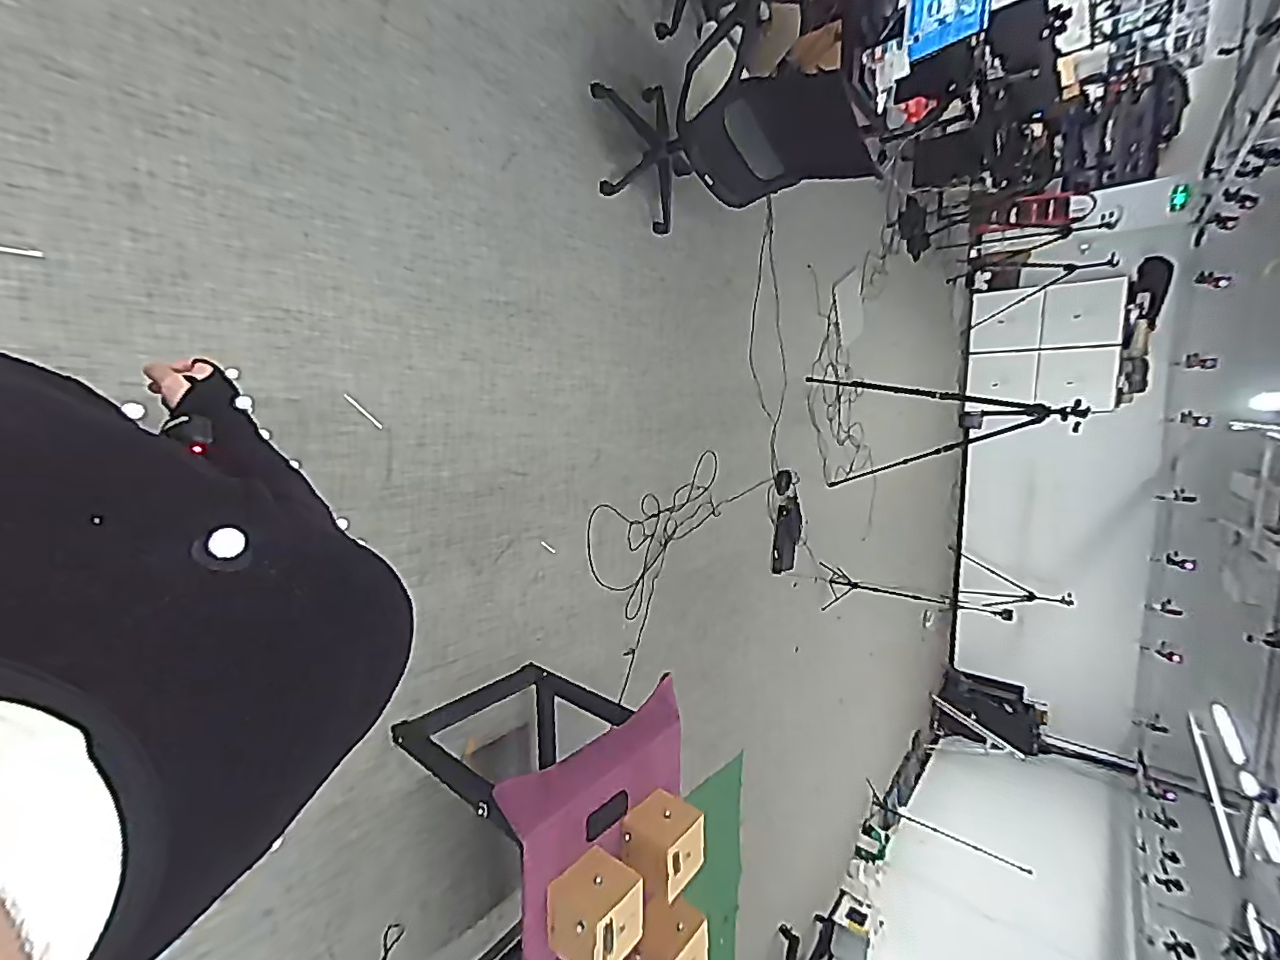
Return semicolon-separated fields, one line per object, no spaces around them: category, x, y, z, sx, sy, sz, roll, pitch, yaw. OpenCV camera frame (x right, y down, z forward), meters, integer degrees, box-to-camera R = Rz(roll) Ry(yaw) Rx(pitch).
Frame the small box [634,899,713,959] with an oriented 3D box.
small box;0.100;1.404;1.610;0.179;0.176;0.168;-10;101;-48

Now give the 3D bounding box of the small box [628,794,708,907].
small box;0.078;1.046;1.542;0.179;0.176;0.168;-10;102;-49
